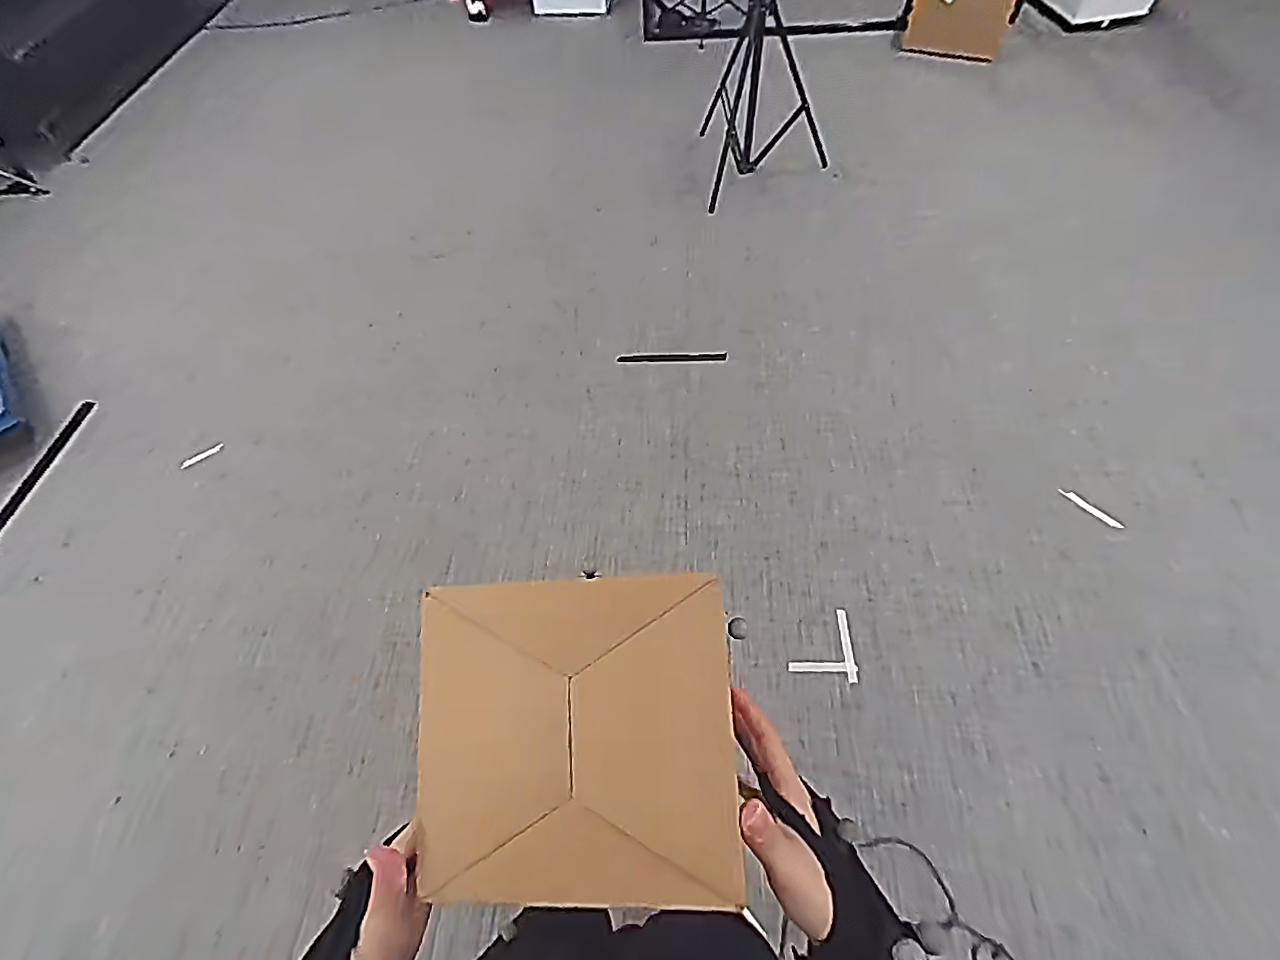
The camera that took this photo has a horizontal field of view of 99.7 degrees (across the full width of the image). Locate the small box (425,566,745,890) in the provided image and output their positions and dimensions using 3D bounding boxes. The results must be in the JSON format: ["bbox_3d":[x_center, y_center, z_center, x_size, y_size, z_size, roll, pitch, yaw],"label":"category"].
[{"bbox_3d":[-0.023,0.147,0.371,0.179,0.176,0.168,-4,80,7],"label":"small box"}]
